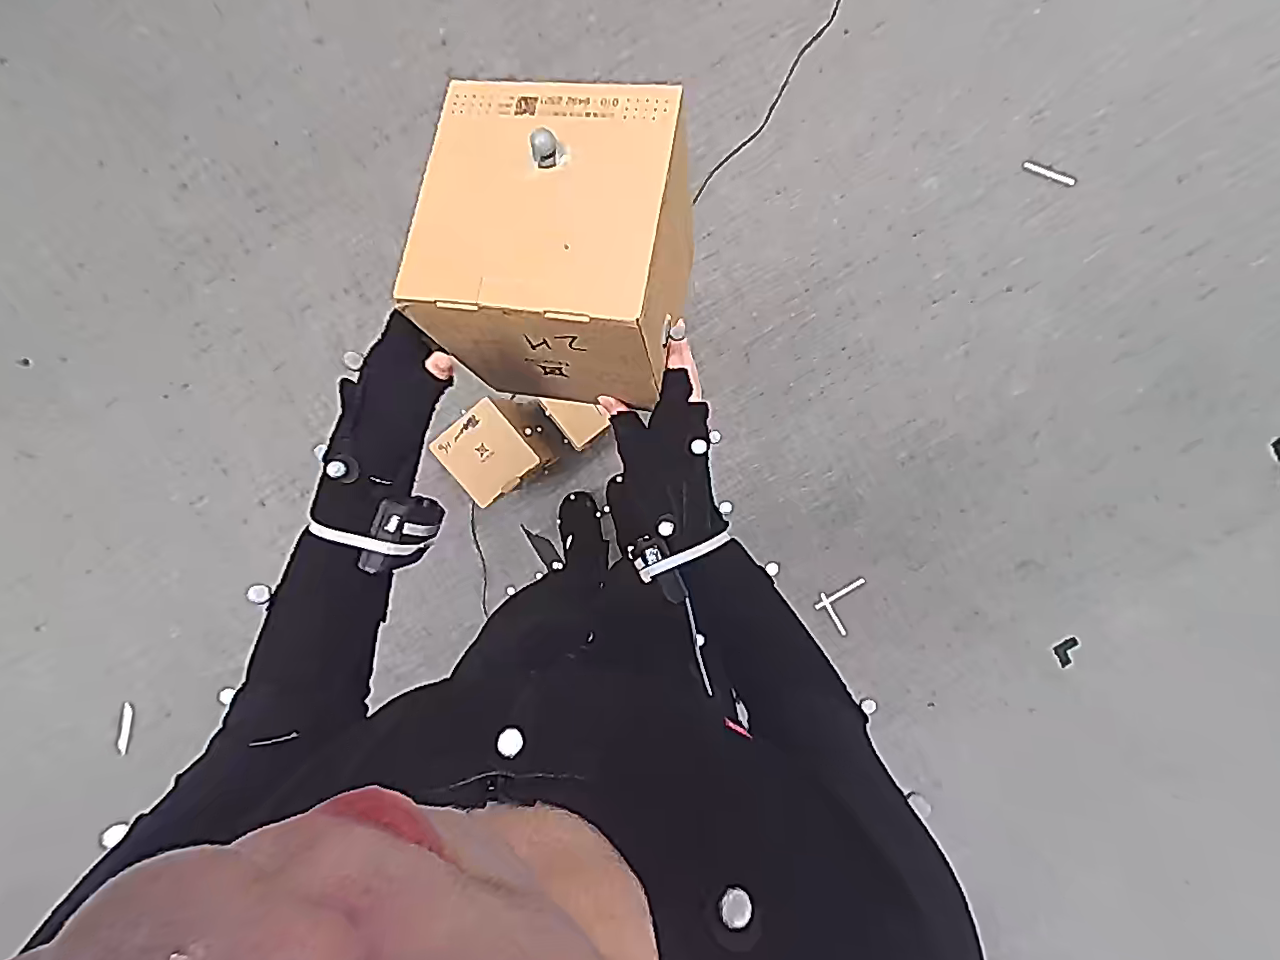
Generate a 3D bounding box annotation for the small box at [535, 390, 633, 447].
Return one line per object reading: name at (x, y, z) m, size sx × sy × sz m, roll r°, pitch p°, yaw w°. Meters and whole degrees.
small box at (-0.134, -0.201, 1.350) m, size 0.168 × 0.176 × 0.179 m, roll -38°, pitch 96°, yaw 5°

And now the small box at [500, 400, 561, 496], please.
small box at (-0.318, -0.086, 1.365) m, size 0.168 × 0.176 × 0.179 m, roll -35°, pitch 95°, yaw 3°

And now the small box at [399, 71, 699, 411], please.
small box at (-0.049, -0.169, 0.424) m, size 0.168 × 0.179 × 0.176 m, roll 9°, pitch 82°, yaw 10°

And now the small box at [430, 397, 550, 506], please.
small box at (-0.320, -0.070, 1.200) m, size 0.168 × 0.176 × 0.179 m, roll -39°, pitch 96°, yaw 4°

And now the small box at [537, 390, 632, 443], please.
small box at (-0.115, -0.198, 1.184) m, size 0.168 × 0.176 × 0.179 m, roll -37°, pitch 97°, yaw 4°
